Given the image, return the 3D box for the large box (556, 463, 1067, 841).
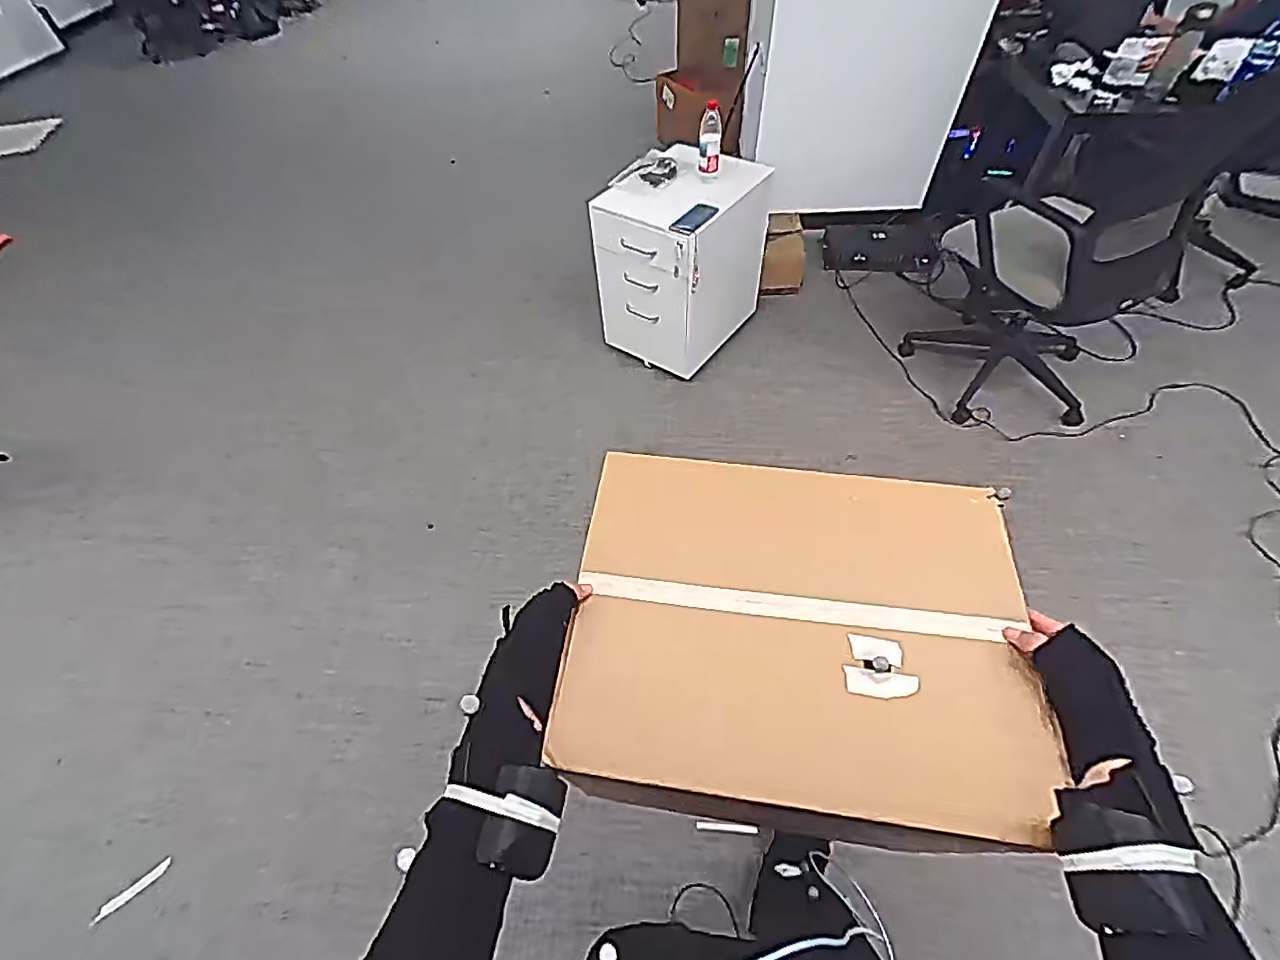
[{"bbox_3d":[0.146,0.206,0.626,0.408,0.320,0.320,6,57,5],"label":"large box"}]
